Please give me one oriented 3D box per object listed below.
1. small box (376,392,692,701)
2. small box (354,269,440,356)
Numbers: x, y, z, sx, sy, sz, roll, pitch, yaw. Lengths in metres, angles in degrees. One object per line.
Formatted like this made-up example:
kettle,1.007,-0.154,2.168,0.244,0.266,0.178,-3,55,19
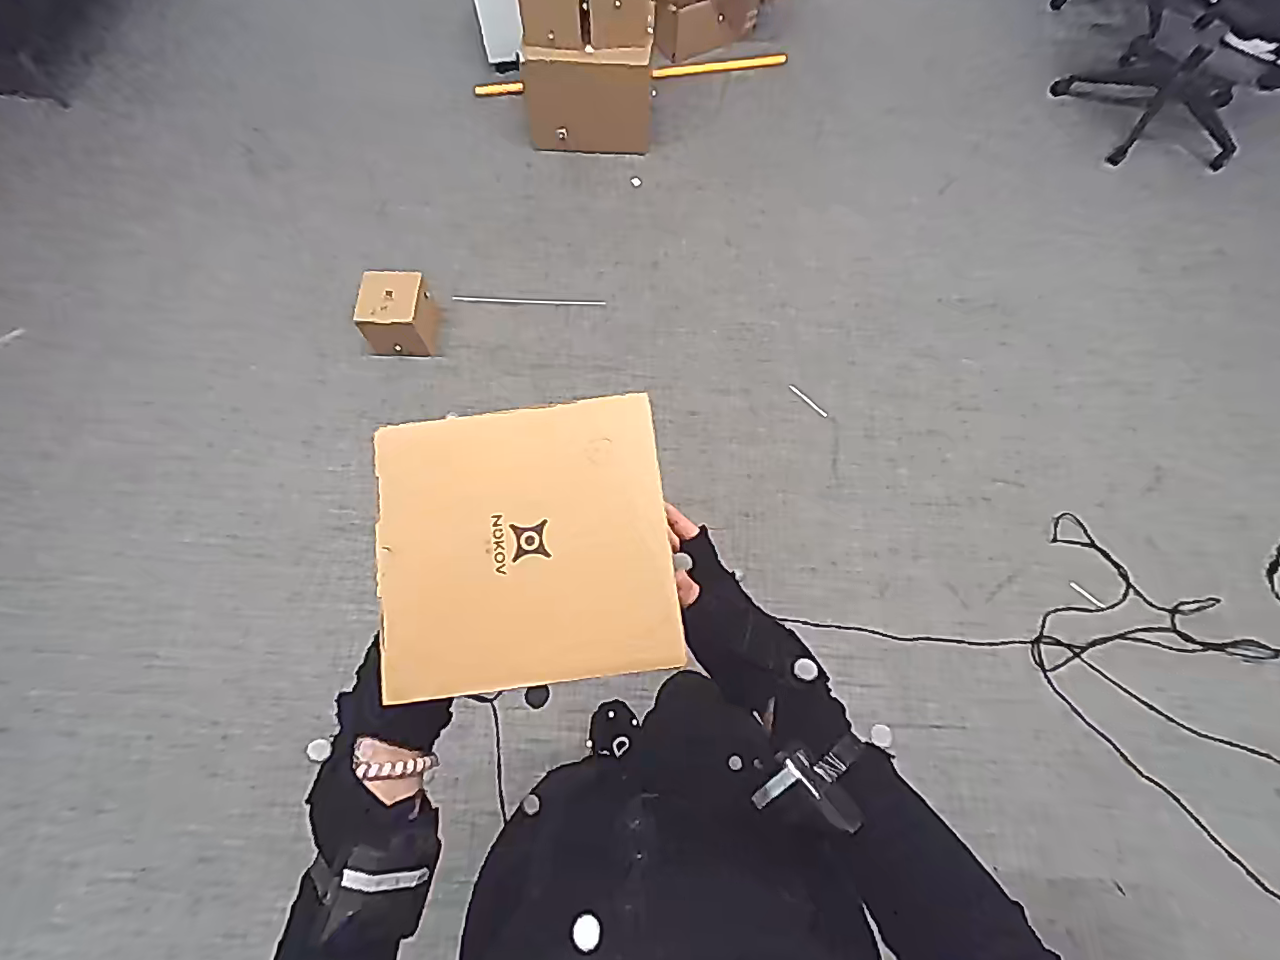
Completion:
small box,-0.064,0.050,0.393,0.179,0.176,0.168,-7,78,1
small box,-0.699,-0.487,1.579,0.168,0.176,0.179,1,70,0
